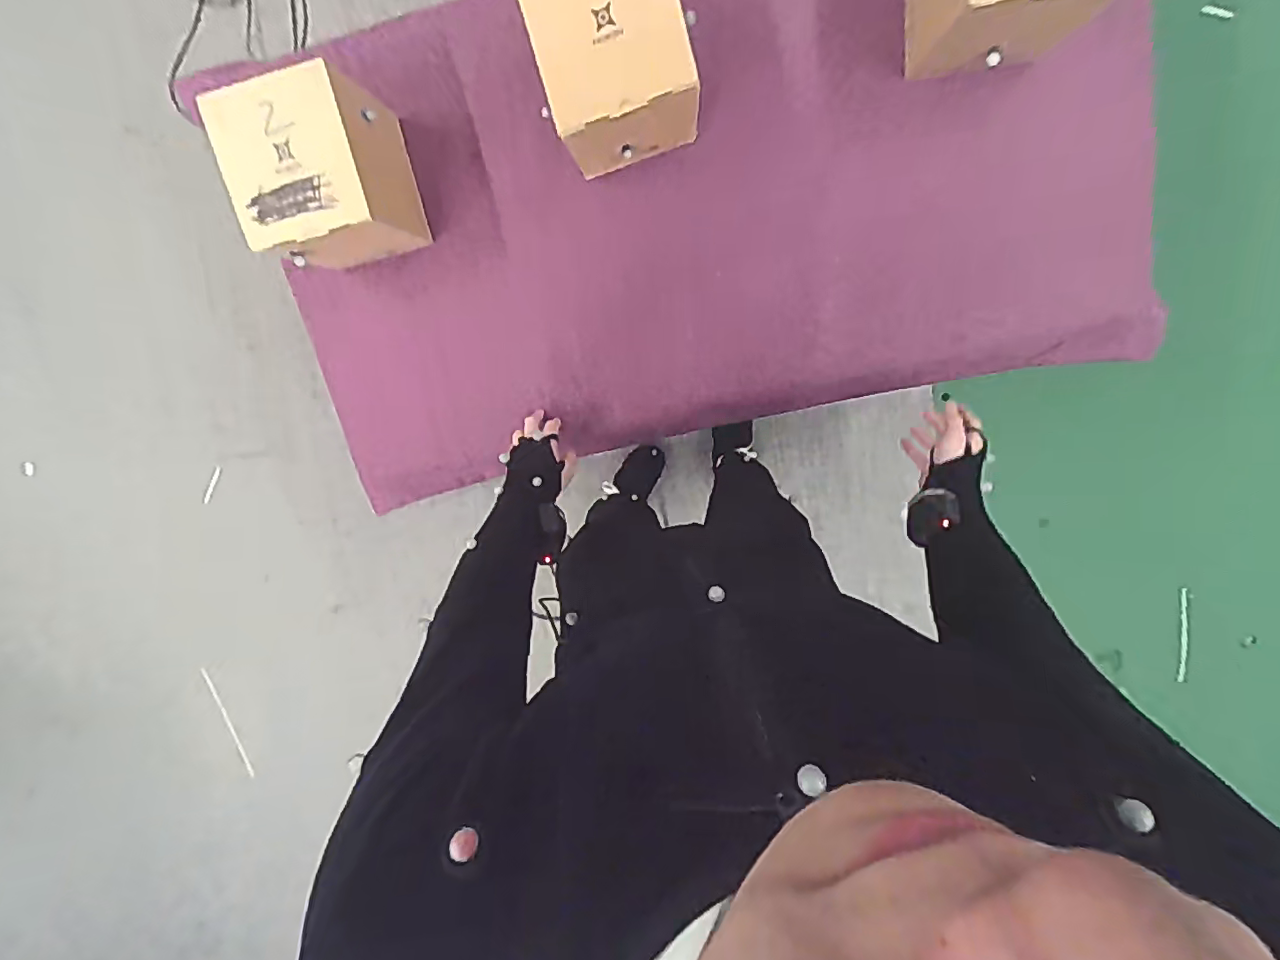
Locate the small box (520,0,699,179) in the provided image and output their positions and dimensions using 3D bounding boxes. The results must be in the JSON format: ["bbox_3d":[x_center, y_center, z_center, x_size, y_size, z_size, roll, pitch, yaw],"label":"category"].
[{"bbox_3d":[-0.033,-0.504,0.659,0.168,0.176,0.179,-16,103,7],"label":"small box"}]
